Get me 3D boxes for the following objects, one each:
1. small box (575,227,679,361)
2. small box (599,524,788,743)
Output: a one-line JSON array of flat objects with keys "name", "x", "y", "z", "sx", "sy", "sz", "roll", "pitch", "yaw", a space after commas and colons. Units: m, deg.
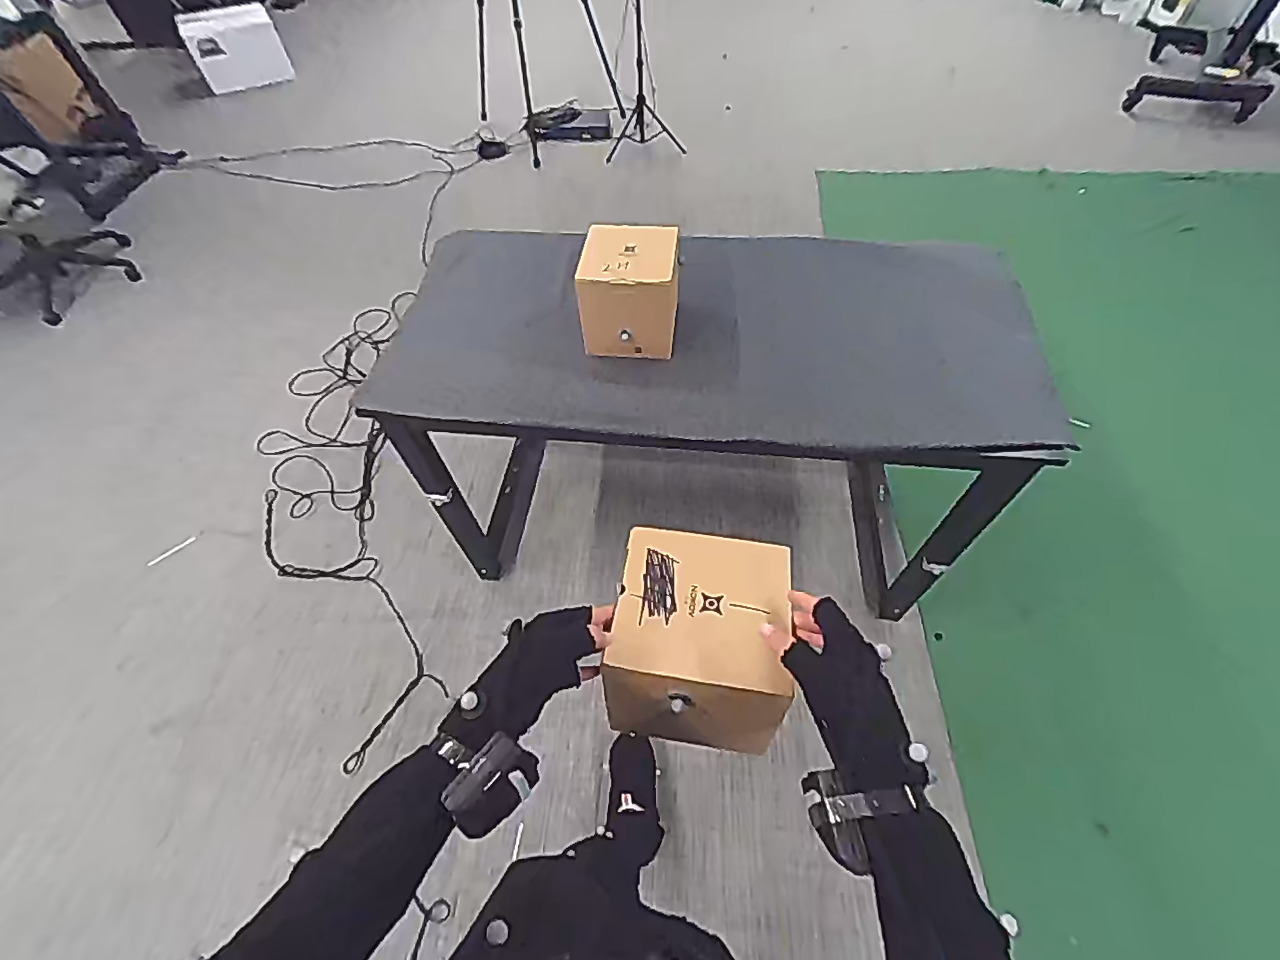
[{"name": "small box", "x": -0.017, "y": -0.349, "z": 1.018, "sx": 0.168, "sy": 0.176, "sz": 0.179, "roll": 4, "pitch": 54, "yaw": 6}, {"name": "small box", "x": 0.062, "y": 0.172, "z": 0.600, "sx": 0.179, "sy": 0.176, "sz": 0.168, "roll": 7, "pitch": 47, "yaw": 7}]
